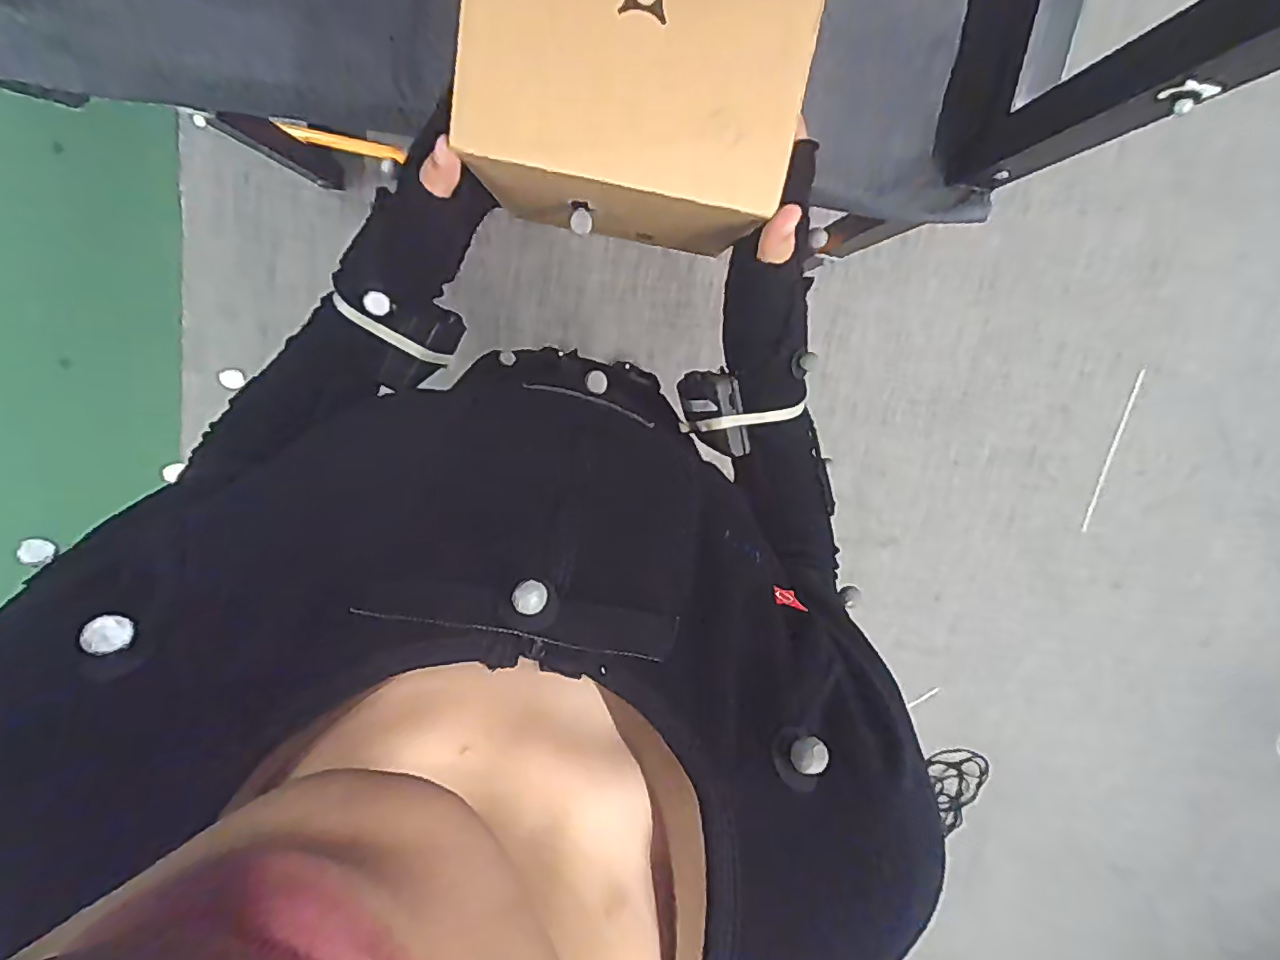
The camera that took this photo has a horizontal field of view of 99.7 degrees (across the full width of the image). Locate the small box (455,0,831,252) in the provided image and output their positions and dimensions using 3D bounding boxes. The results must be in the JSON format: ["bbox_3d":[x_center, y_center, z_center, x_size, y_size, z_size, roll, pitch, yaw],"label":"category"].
[{"bbox_3d":[0.004,-0.248,0.318,0.168,0.176,0.179,9,104,-5],"label":"small box"}]
